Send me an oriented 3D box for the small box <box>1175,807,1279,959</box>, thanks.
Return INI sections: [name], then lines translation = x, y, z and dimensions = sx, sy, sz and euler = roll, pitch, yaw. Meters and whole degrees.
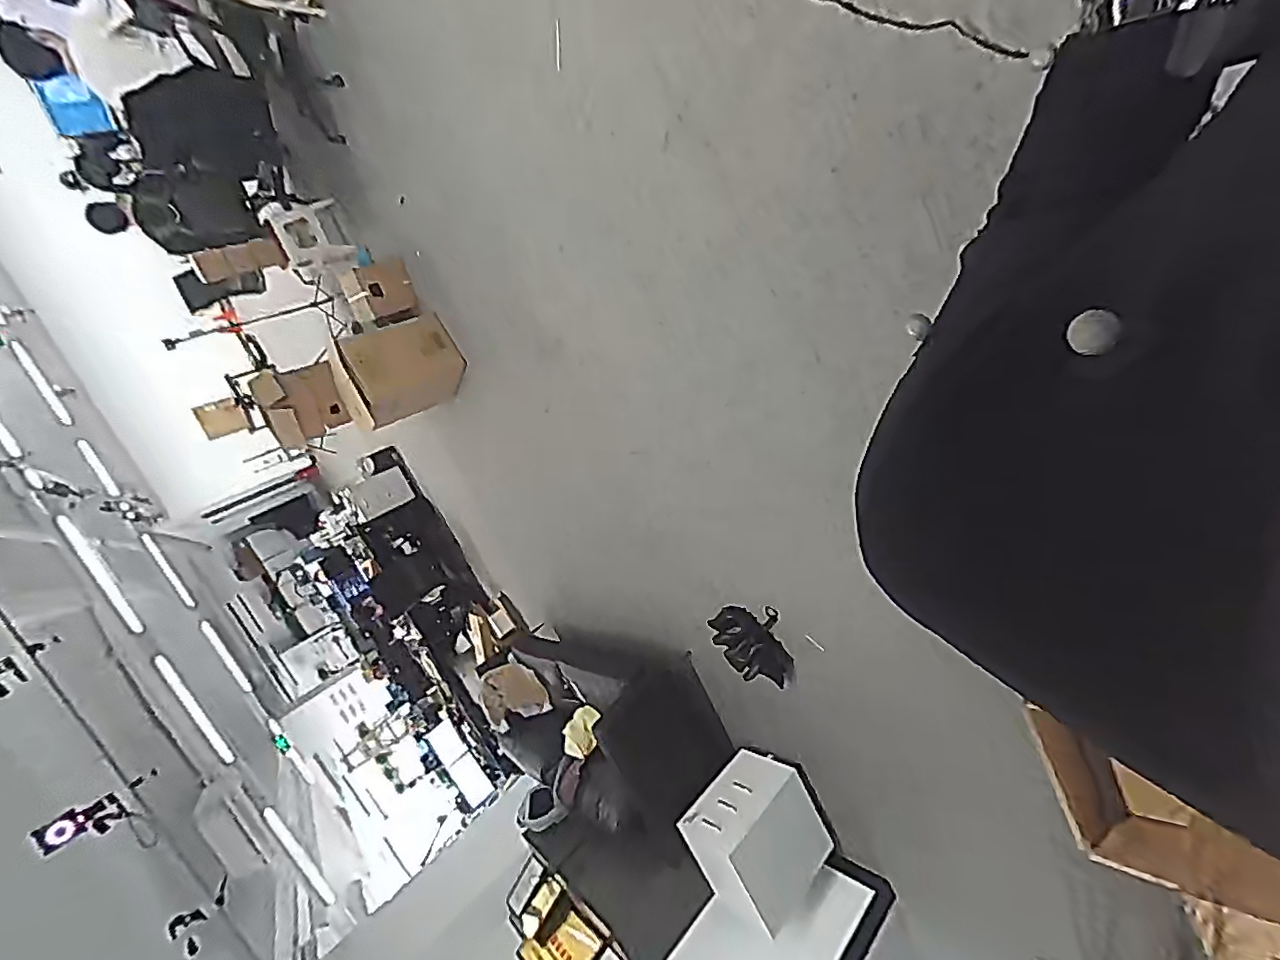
[small box]
translation = 0.905, 0.616, 0.763
dimensions = 0.168, 0.176, 0.179
euler = -18, 102, 55
